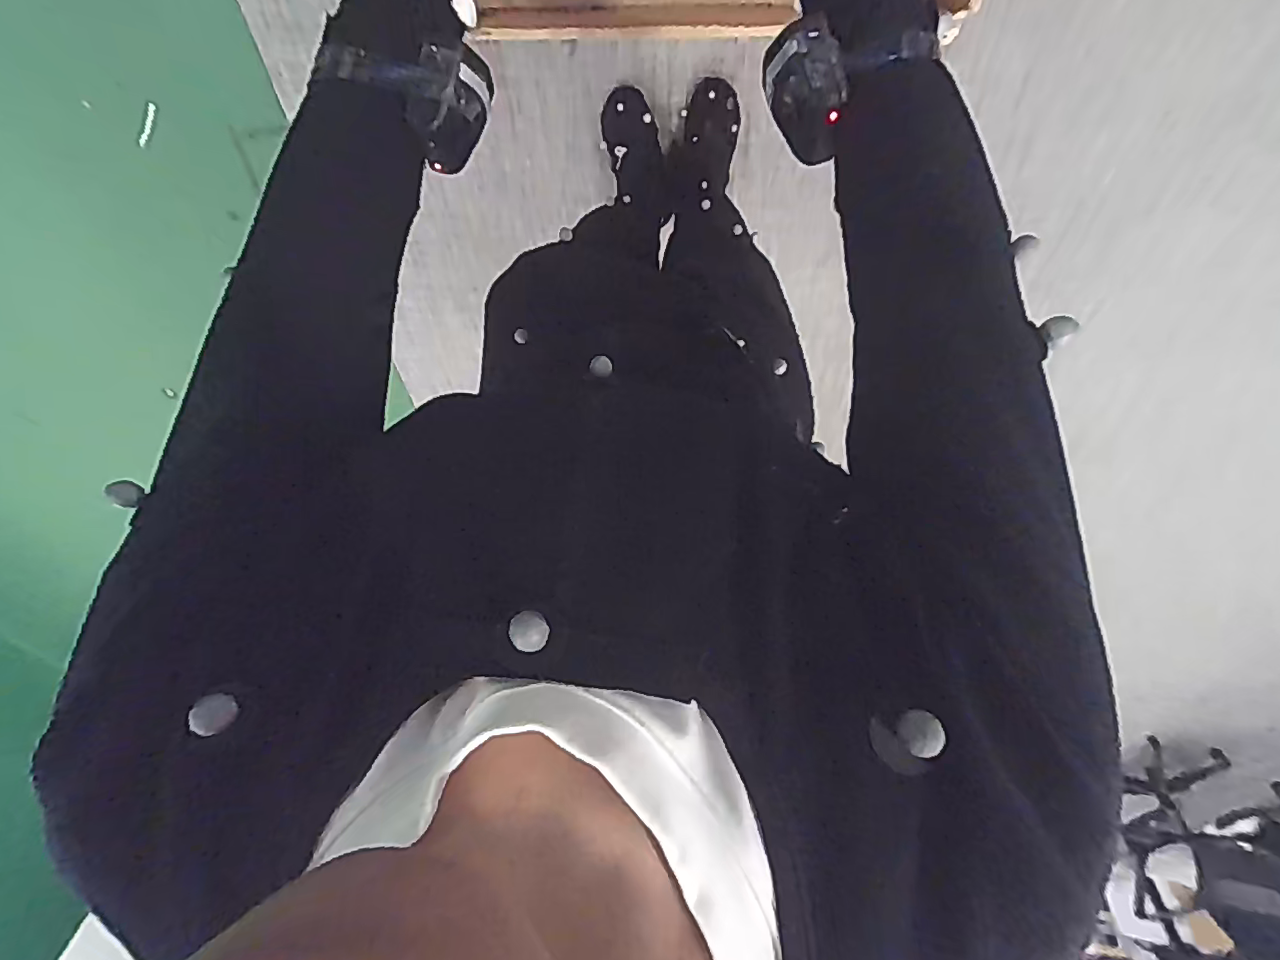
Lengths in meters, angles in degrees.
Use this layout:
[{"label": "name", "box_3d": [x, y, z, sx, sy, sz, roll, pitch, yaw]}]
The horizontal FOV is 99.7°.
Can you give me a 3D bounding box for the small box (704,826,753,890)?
[{"label": "small box", "box_3d": [0.338, 1.439, 2.063, 0.179, 0.176, 0.168, -1, 134, 12]}]
